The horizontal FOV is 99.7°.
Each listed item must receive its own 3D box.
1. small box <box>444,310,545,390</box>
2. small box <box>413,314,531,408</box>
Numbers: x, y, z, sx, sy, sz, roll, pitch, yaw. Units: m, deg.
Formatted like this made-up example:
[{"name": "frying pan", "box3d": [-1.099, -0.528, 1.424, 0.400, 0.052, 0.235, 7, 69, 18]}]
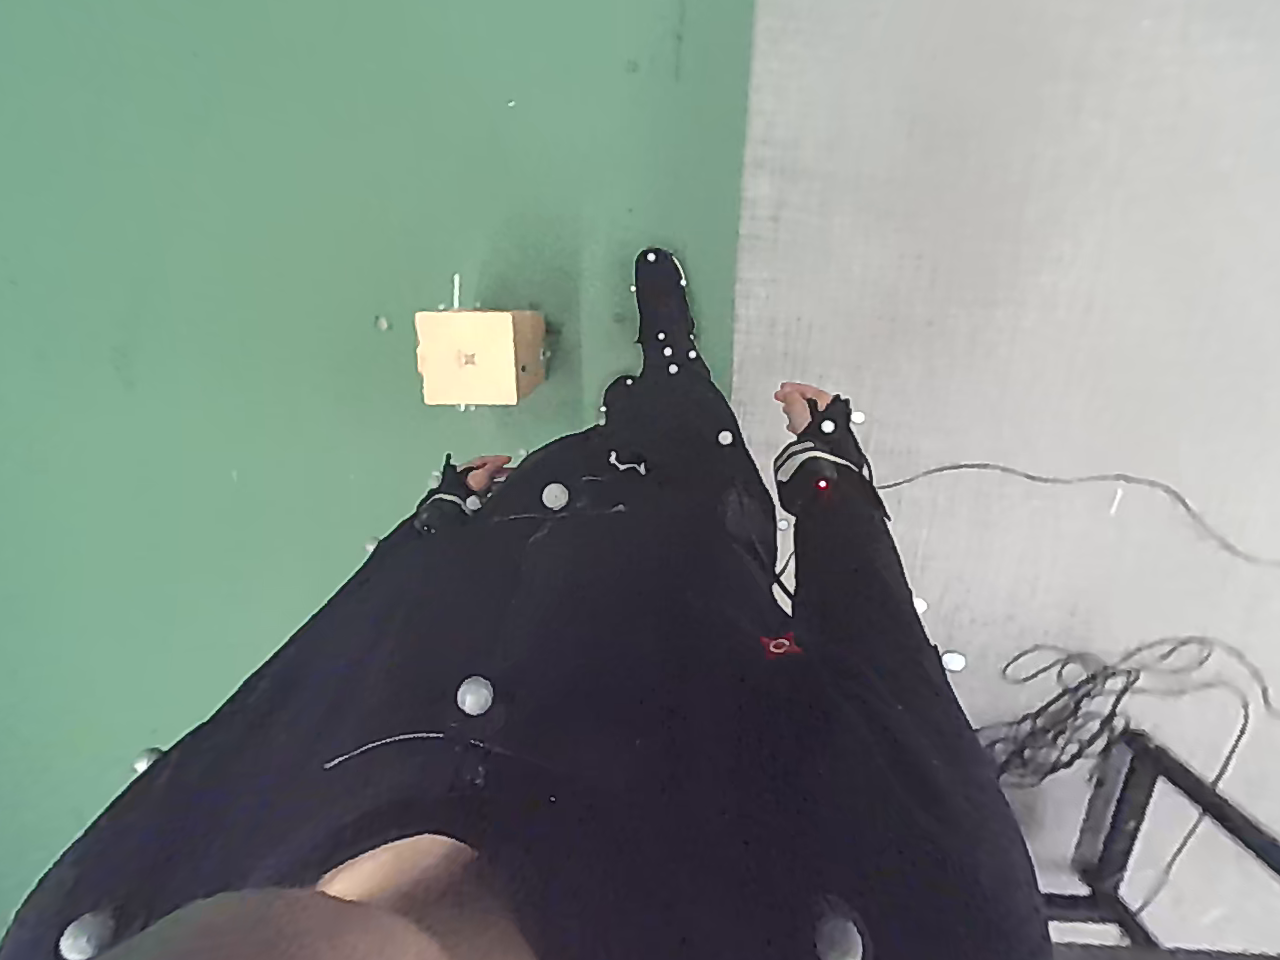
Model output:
[{"name": "small box", "box3d": [-0.316, -0.290, 1.206, 0.179, 0.176, 0.168, 0, 107, 0]}, {"name": "small box", "box3d": [-0.313, -0.236, 1.052, 0.179, 0.176, 0.168, 0, 107, 1]}]
